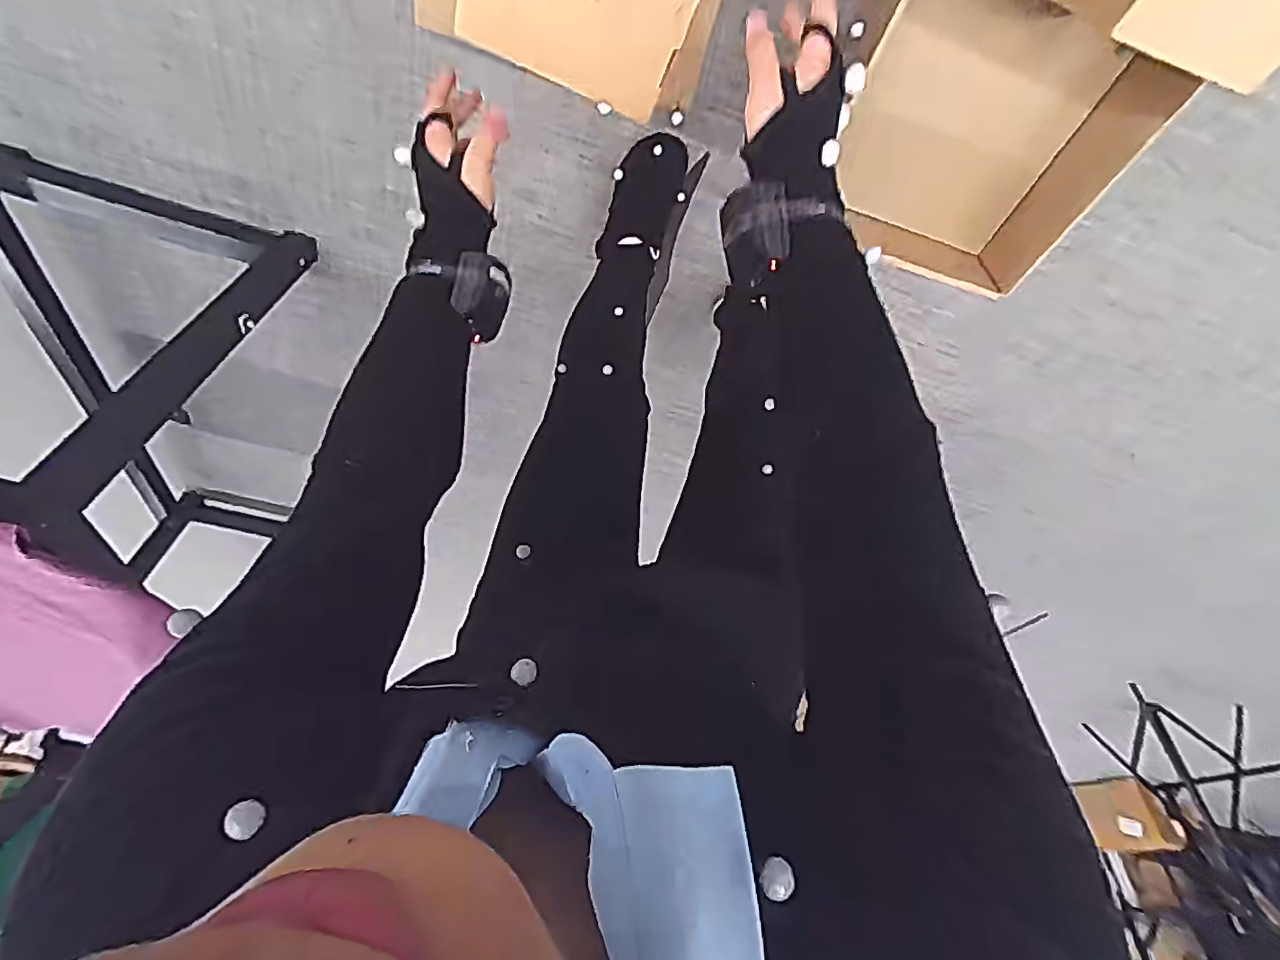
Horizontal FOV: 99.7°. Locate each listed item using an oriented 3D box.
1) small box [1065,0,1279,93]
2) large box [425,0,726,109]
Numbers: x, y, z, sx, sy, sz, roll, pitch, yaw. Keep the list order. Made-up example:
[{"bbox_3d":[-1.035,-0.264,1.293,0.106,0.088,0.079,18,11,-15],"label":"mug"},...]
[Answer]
[{"bbox_3d":[0.532,-0.501,0.488,0.168,0.176,0.179,13,141,-10],"label":"small box"},{"bbox_3d":[-0.028,-0.697,0.550,0.320,0.320,0.408,13,140,-8],"label":"large box"}]
